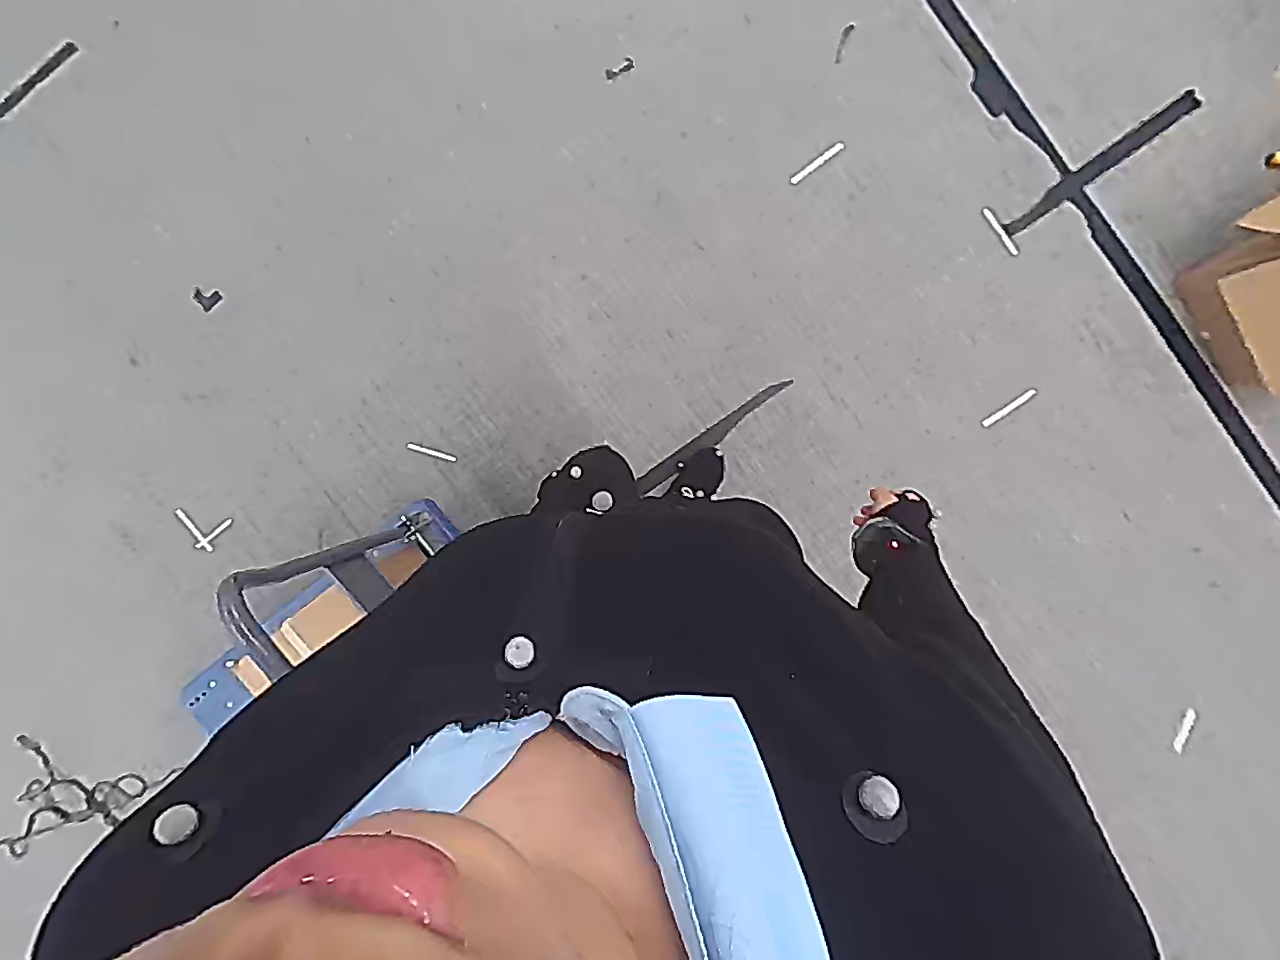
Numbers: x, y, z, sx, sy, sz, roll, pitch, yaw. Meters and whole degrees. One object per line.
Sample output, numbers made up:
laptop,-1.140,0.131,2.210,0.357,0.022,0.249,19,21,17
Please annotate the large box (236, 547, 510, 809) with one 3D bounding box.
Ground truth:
large box,-0.574,0.424,1.240,0.320,0.320,0.408,-38,92,5
